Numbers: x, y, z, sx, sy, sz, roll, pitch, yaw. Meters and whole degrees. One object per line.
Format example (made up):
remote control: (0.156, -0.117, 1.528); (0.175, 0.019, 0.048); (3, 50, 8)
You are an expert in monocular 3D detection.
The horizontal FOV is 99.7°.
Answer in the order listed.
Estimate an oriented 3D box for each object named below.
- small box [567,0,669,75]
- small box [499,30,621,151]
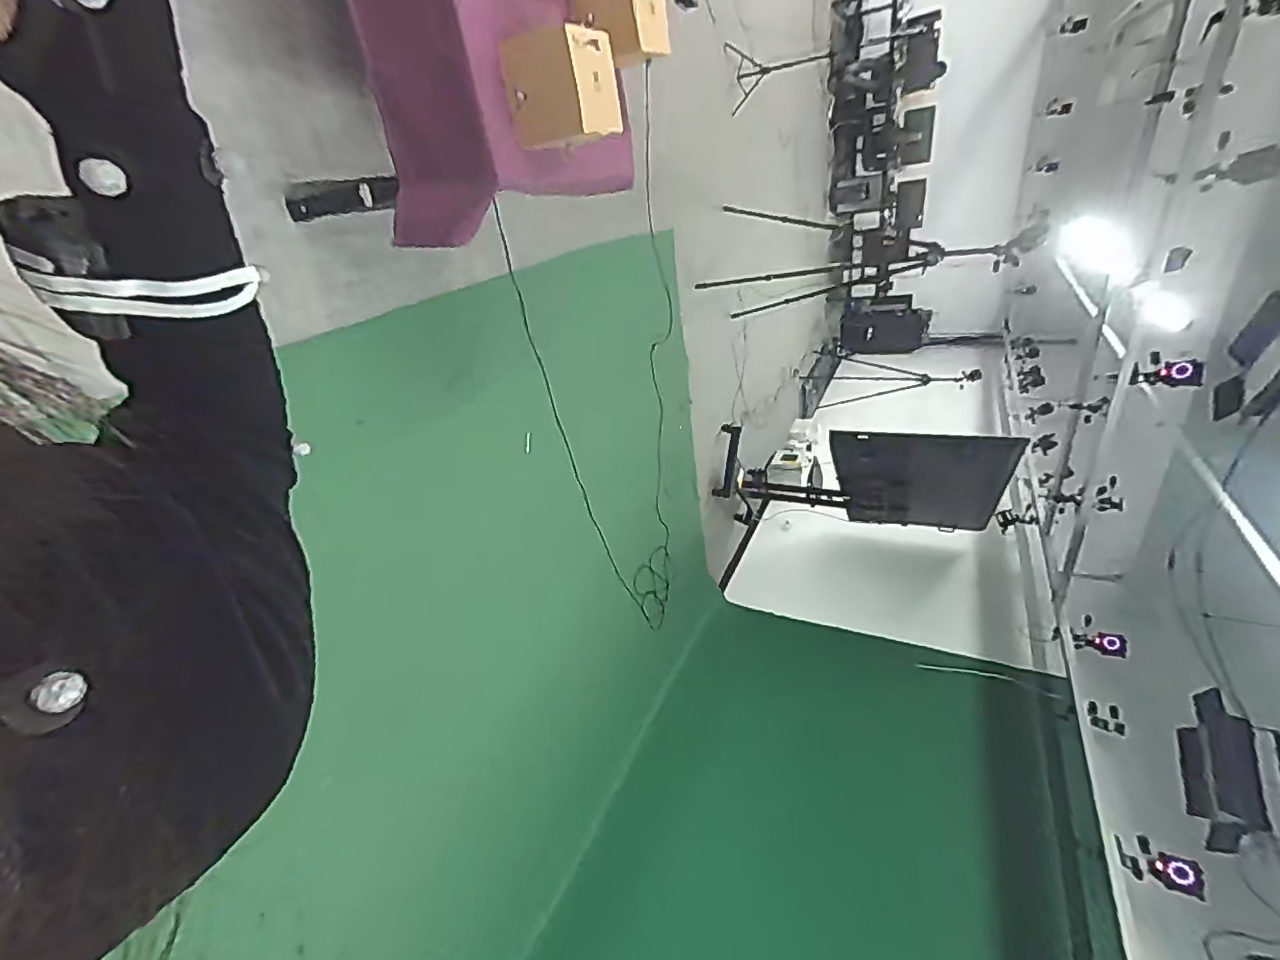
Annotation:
small box: (-0.050, -1.083, 1.284); (0.179, 0.176, 0.168); (-49, 136, -47)
small box: (-0.163, -0.797, 1.126); (0.168, 0.176, 0.179); (-49, 137, -49)
